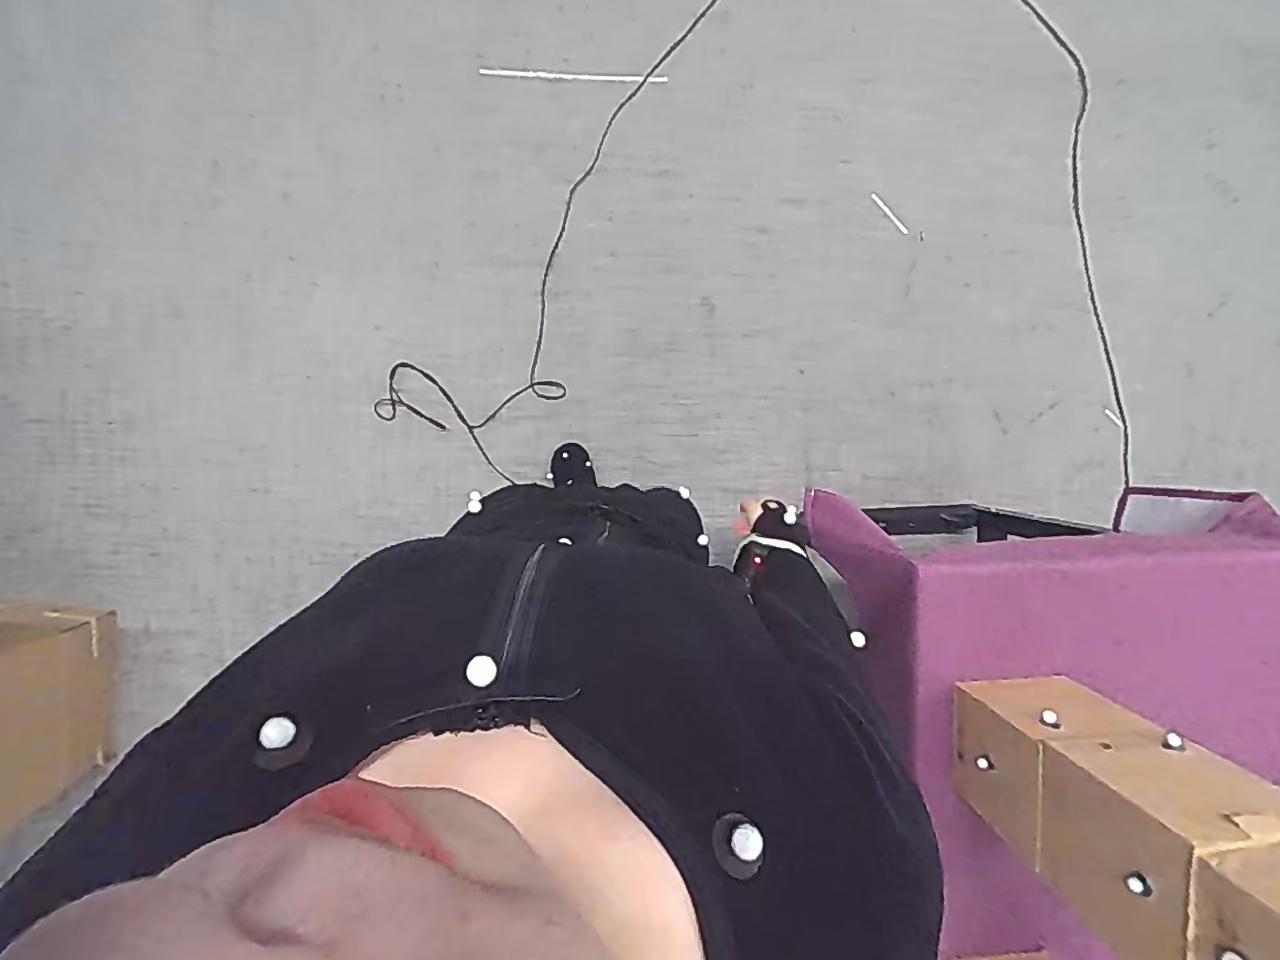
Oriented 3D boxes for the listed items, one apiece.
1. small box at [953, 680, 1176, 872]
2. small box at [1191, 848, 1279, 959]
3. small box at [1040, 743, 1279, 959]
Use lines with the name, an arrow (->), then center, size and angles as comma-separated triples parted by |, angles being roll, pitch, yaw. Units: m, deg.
small box -> 0.555, 0.387, 0.732 | 0.179, 0.176, 0.168 | -1, 95, -3
small box -> 0.580, 0.410, 0.406 | 0.179, 0.176, 0.168 | -4, 94, -2
small box -> 0.562, 0.398, 0.568 | 0.168, 0.176, 0.179 | -2, 95, -2
